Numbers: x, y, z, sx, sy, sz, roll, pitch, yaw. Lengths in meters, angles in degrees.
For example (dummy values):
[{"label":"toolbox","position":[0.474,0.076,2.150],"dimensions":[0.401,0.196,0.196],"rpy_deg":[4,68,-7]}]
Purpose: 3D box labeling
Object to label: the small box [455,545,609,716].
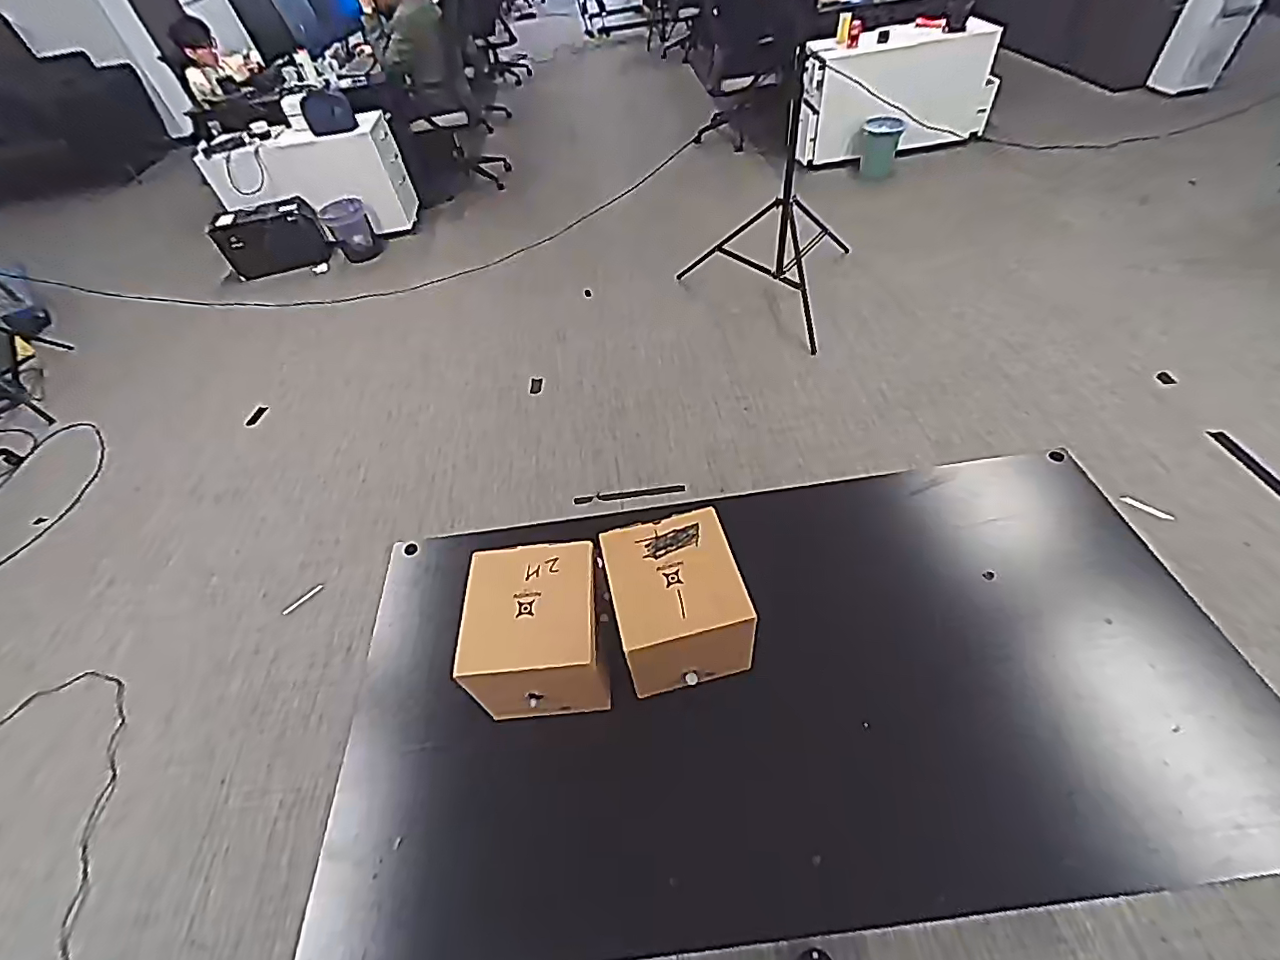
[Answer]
[{"label":"small box","position":[-0.136,0.214,0.749],"dimensions":[0.168,0.176,0.179],"rpy_deg":[-6,49,2]}]
